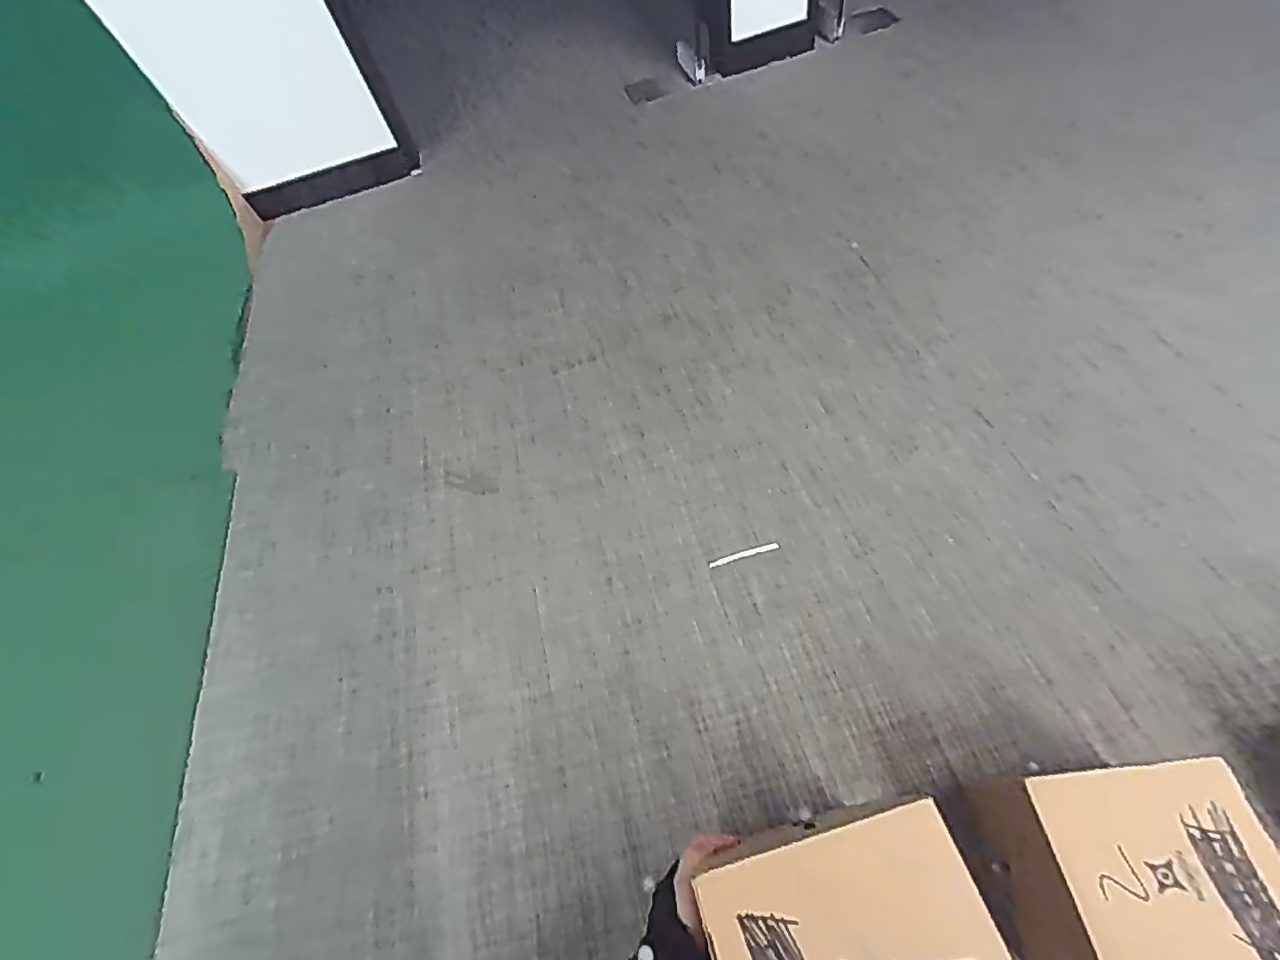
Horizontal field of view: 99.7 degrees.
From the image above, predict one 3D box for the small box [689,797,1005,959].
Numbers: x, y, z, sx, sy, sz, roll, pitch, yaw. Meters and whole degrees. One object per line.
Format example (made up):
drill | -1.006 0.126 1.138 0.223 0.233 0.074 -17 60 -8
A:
small box | 0.148 0.350 0.395 0.179 0.176 0.168 -18 58 -1
